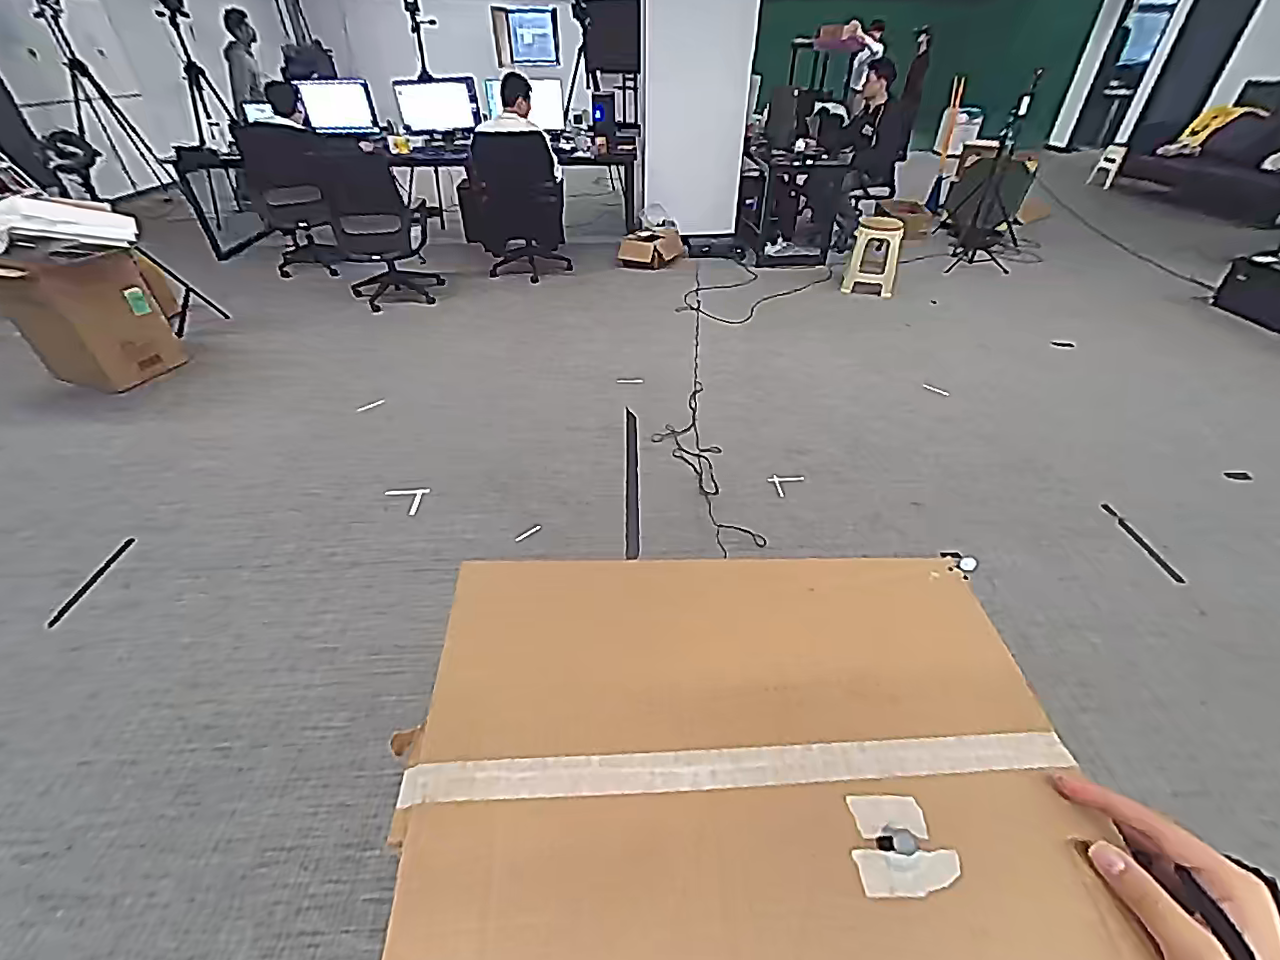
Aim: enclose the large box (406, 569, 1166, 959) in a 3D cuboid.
[{"bbox_3d":[0.060,0.290,0.441,0.408,0.320,0.320,1,46,-7],"label":"large box"}]
